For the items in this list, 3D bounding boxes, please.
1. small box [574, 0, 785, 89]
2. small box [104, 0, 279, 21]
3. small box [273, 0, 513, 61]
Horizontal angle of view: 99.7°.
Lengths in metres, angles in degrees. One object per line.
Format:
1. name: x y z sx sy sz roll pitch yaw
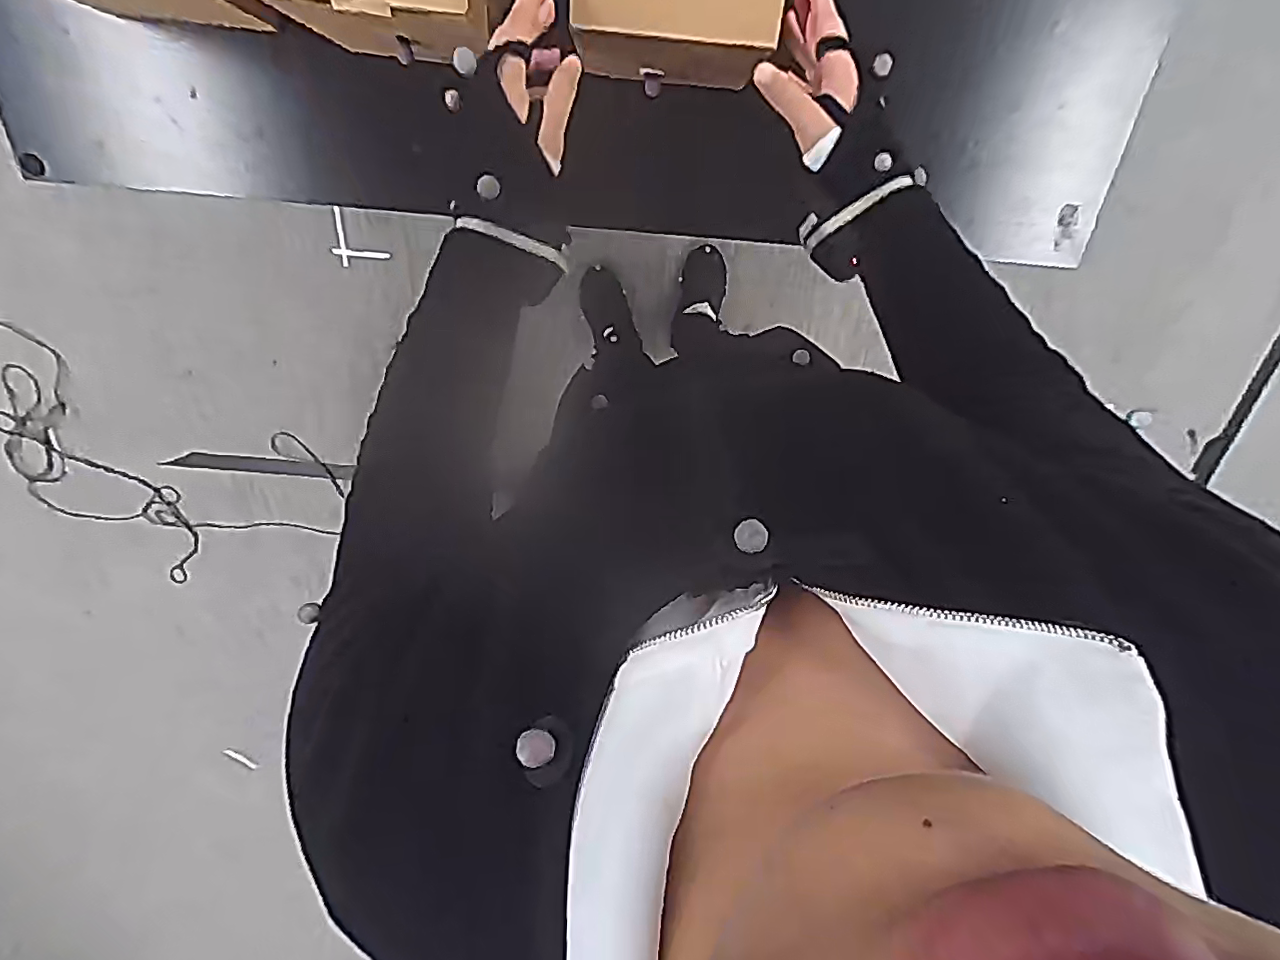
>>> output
1. small box: 0.035 -0.461 0.460 0.168 0.176 0.179 3 118 -1
2. small box: -0.434 -0.498 0.428 0.179 0.176 0.168 4 117 -4
3. small box: -0.203 -0.476 0.446 0.168 0.176 0.179 5 117 -3
